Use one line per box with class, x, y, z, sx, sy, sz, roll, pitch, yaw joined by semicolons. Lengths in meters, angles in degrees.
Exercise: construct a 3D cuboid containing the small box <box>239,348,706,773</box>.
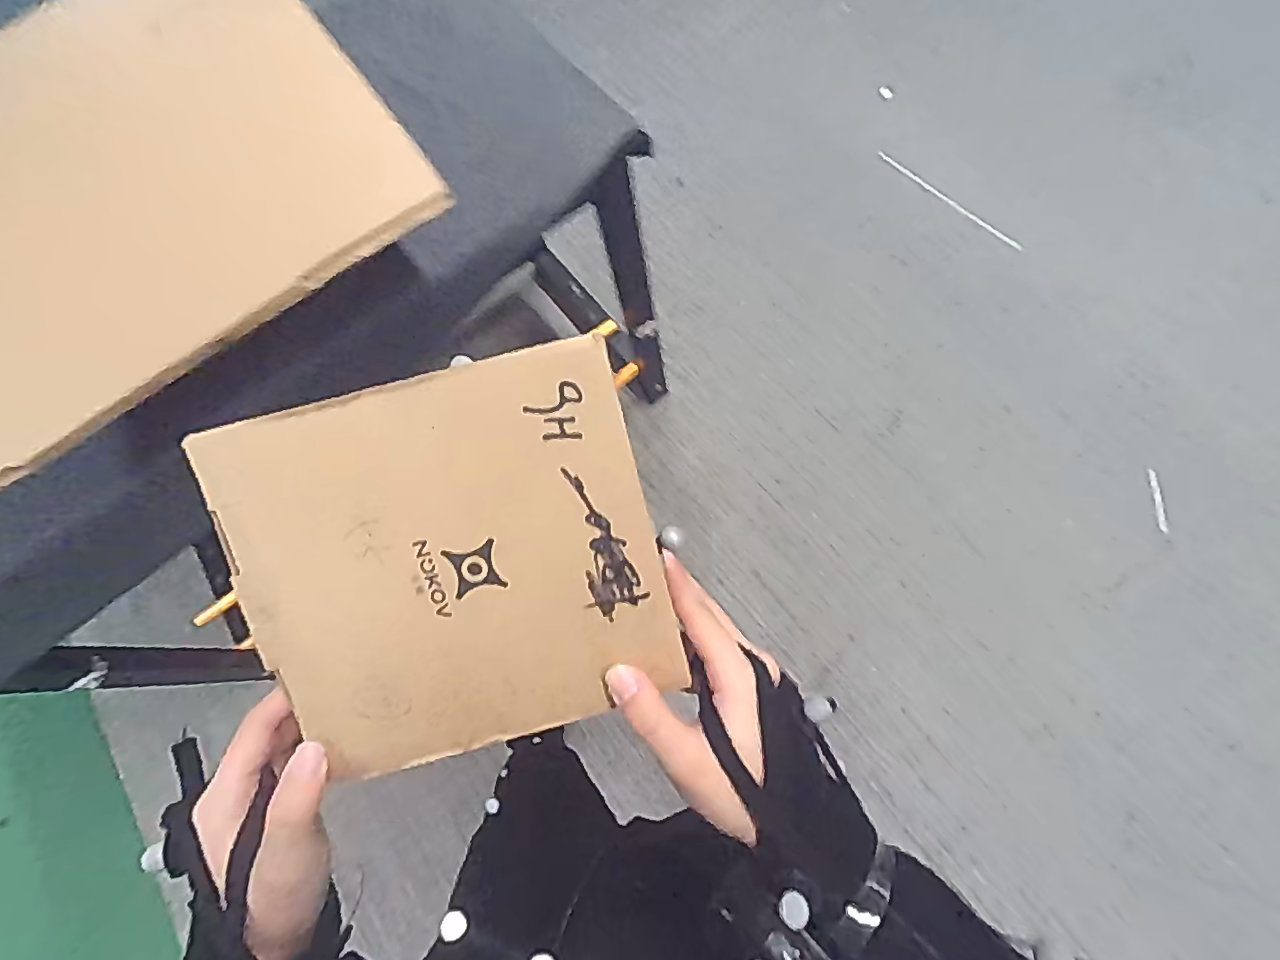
small box;-0.072;0.028;0.319;0.179;0.176;0.168;-13;100;-1
